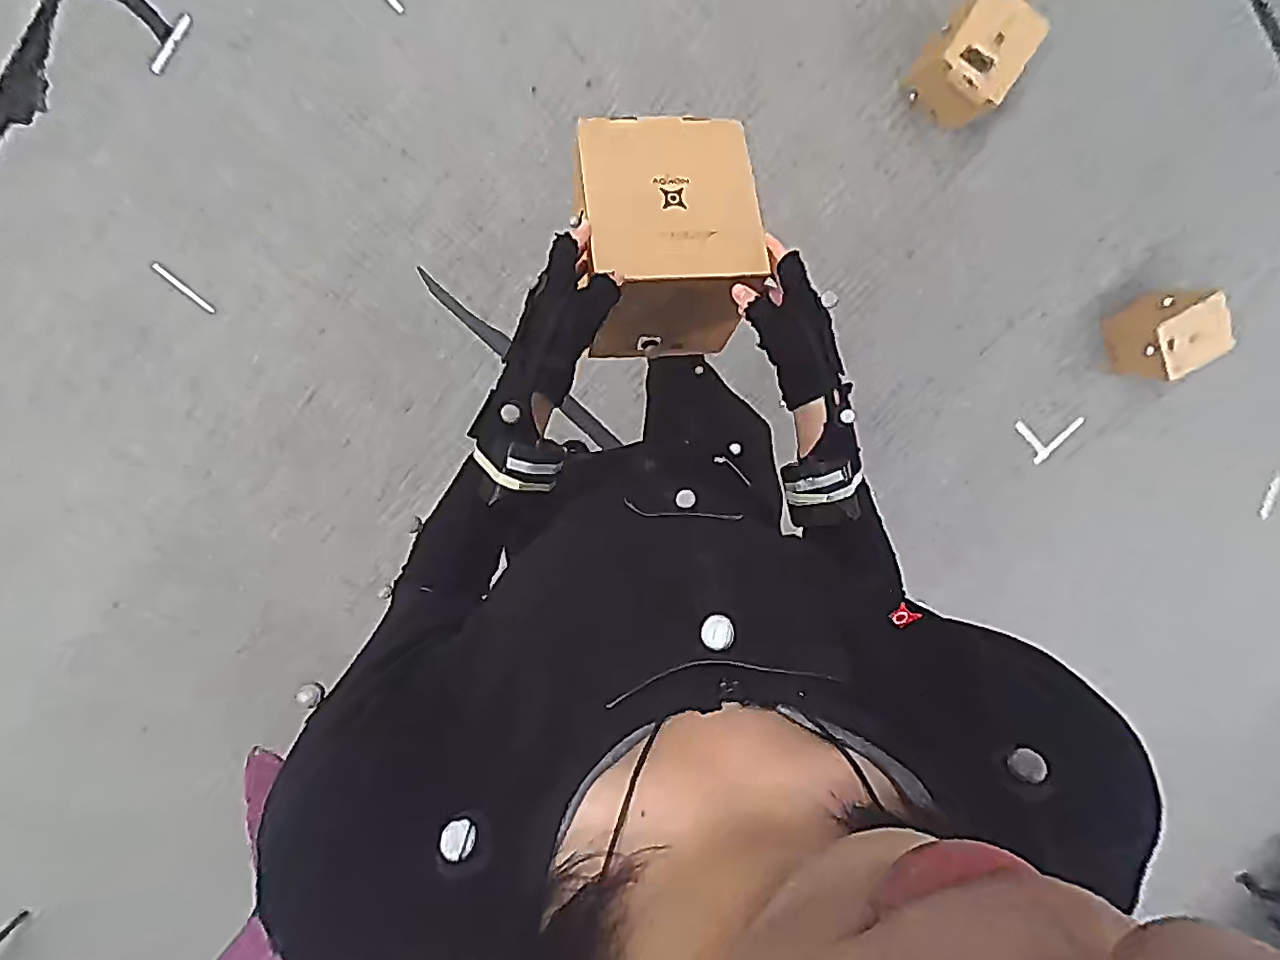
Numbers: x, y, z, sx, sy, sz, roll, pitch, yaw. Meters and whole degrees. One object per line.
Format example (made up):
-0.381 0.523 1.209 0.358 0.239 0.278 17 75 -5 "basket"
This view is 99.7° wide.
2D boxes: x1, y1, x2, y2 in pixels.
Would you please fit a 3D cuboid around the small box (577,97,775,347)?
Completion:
0.023 -0.261 0.575 0.168 0.176 0.179 -6 79 -9 "small box"

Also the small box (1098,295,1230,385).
1.383 -0.376 1.435 0.179 0.176 0.168 -31 108 5 "small box"

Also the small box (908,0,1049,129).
0.732 -0.927 1.198 0.168 0.176 0.179 30 102 -13 "small box"
